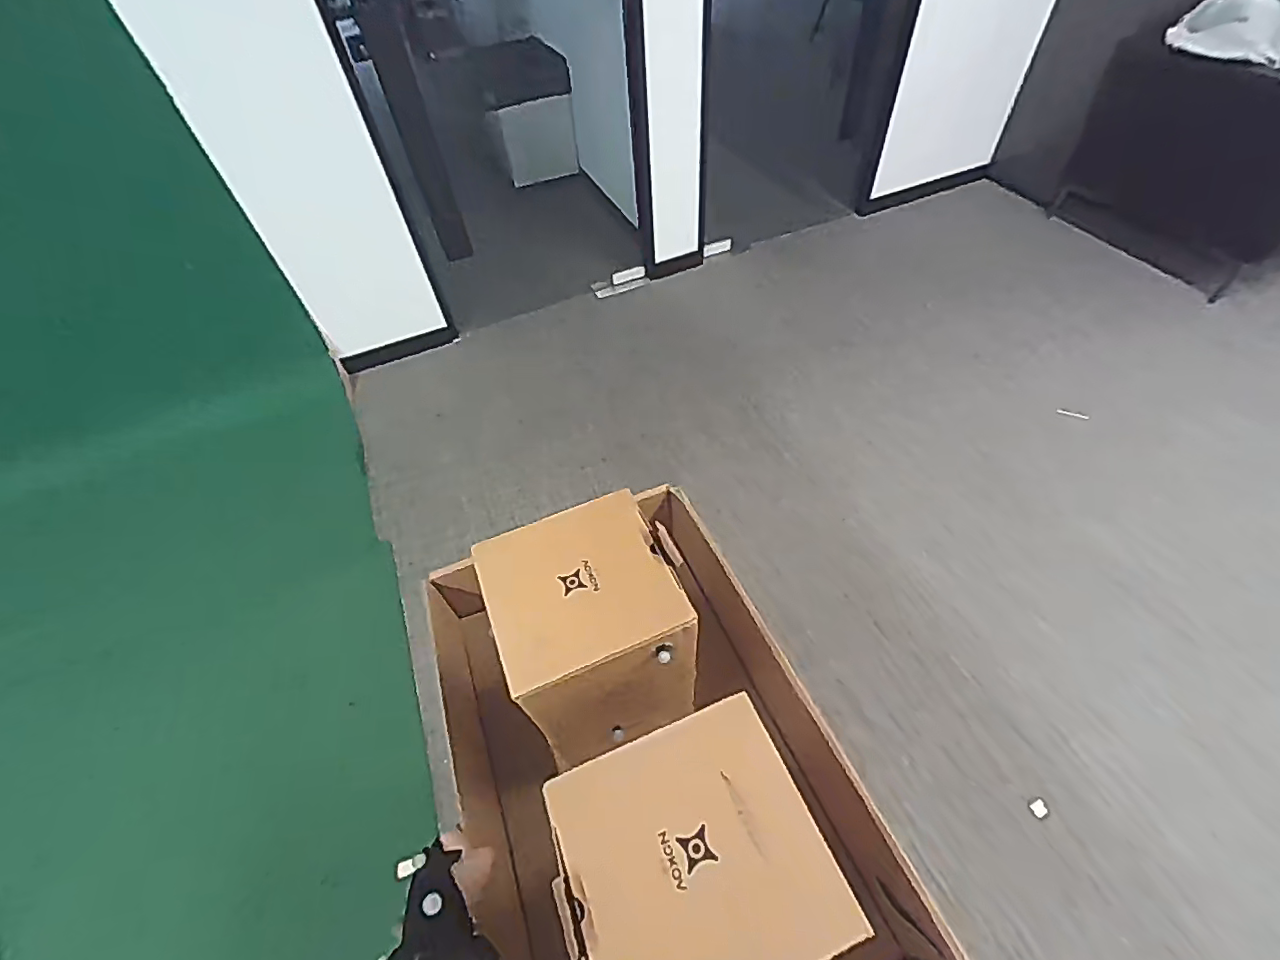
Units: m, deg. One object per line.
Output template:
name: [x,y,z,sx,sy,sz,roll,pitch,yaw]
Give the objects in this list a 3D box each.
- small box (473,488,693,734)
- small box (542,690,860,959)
small box: [-0.055,0.144,0.578,0.179,0.176,0.168,-20,54,-12]
small box: [0.040,0.306,0.437,0.179,0.176,0.168,-20,52,-11]
